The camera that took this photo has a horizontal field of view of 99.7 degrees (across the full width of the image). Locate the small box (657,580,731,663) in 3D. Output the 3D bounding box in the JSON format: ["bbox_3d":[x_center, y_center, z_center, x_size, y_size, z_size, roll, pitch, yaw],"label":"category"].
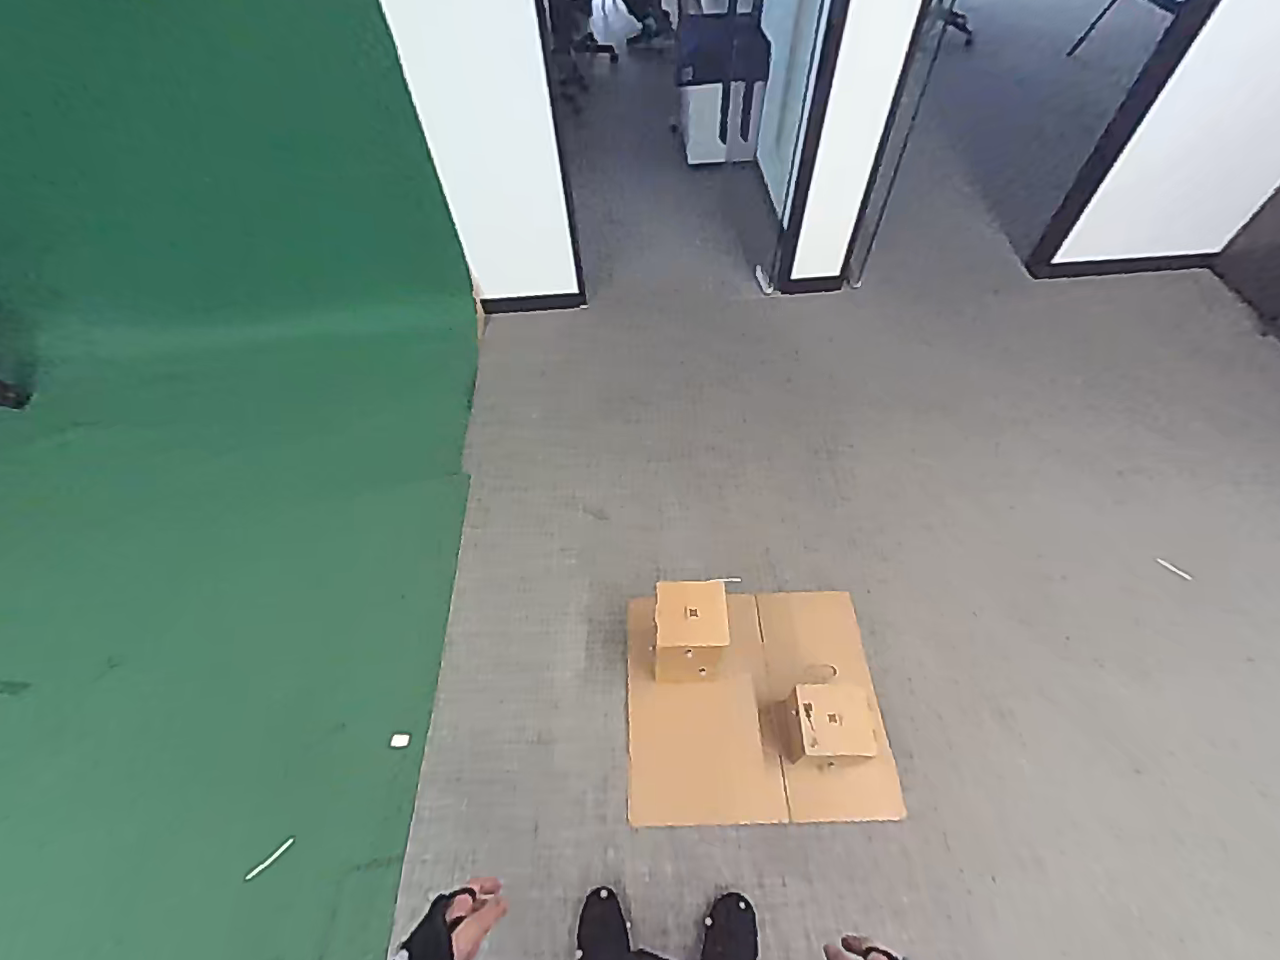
[{"bbox_3d":[0.133,0.365,1.386,0.179,0.176,0.168,-1,56,2],"label":"small box"}]

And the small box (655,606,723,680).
[{"bbox_3d":[0.132,0.456,1.520,0.179,0.176,0.168,-1,55,2],"label":"small box"}]

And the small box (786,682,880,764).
[{"bbox_3d":[0.487,0.626,1.391,0.179,0.176,0.168,0,55,3],"label":"small box"}]
